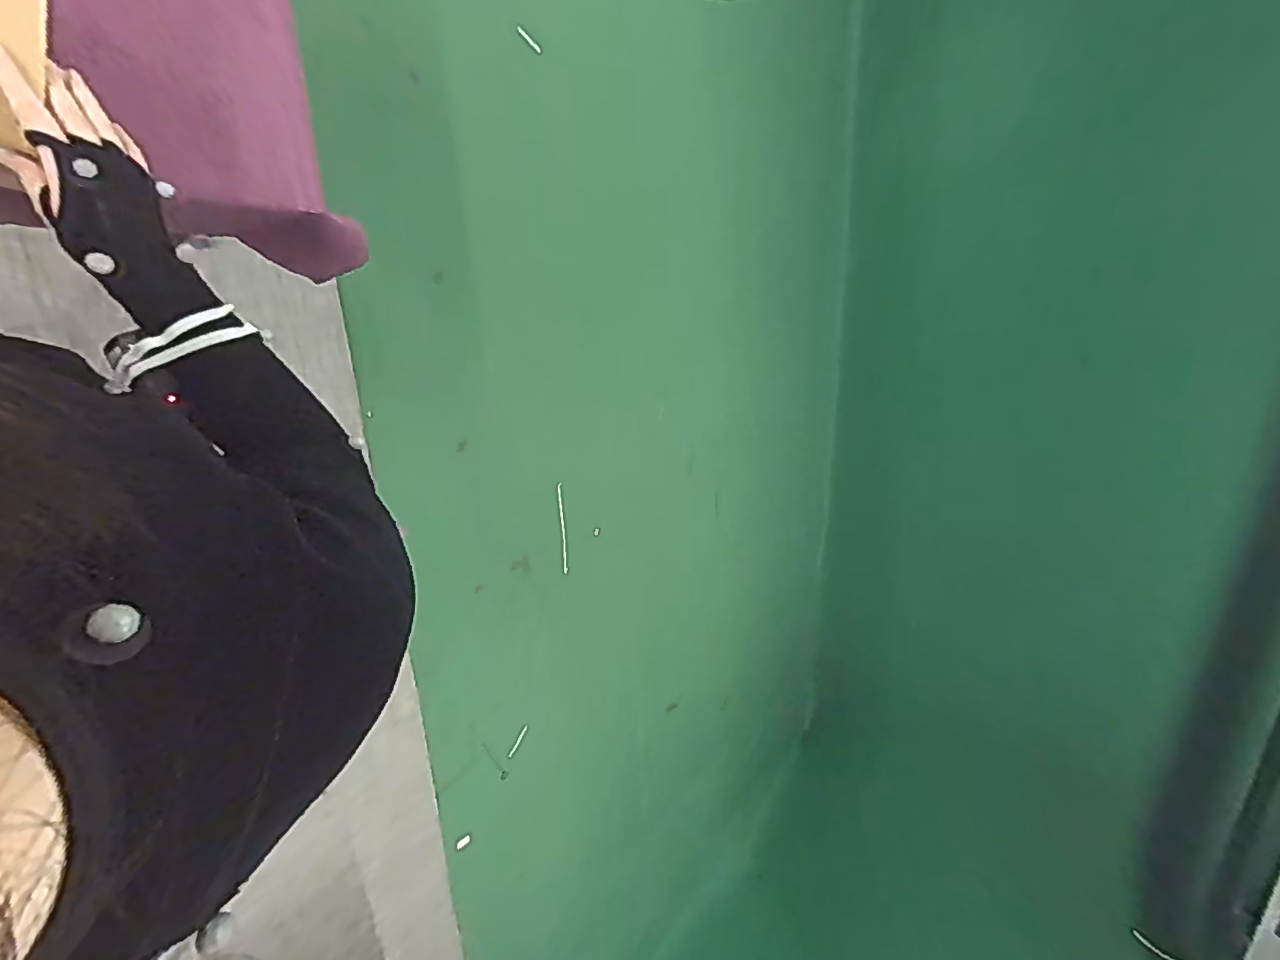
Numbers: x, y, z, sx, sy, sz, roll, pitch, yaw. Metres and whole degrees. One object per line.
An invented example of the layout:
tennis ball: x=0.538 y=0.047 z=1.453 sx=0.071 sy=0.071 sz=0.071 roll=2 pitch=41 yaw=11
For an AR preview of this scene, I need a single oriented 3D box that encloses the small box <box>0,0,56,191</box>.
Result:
small box: x=-0.549 y=-0.339 z=0.393 sx=0.168 sy=0.176 sz=0.179 roll=0 pitch=99 yaw=-48
